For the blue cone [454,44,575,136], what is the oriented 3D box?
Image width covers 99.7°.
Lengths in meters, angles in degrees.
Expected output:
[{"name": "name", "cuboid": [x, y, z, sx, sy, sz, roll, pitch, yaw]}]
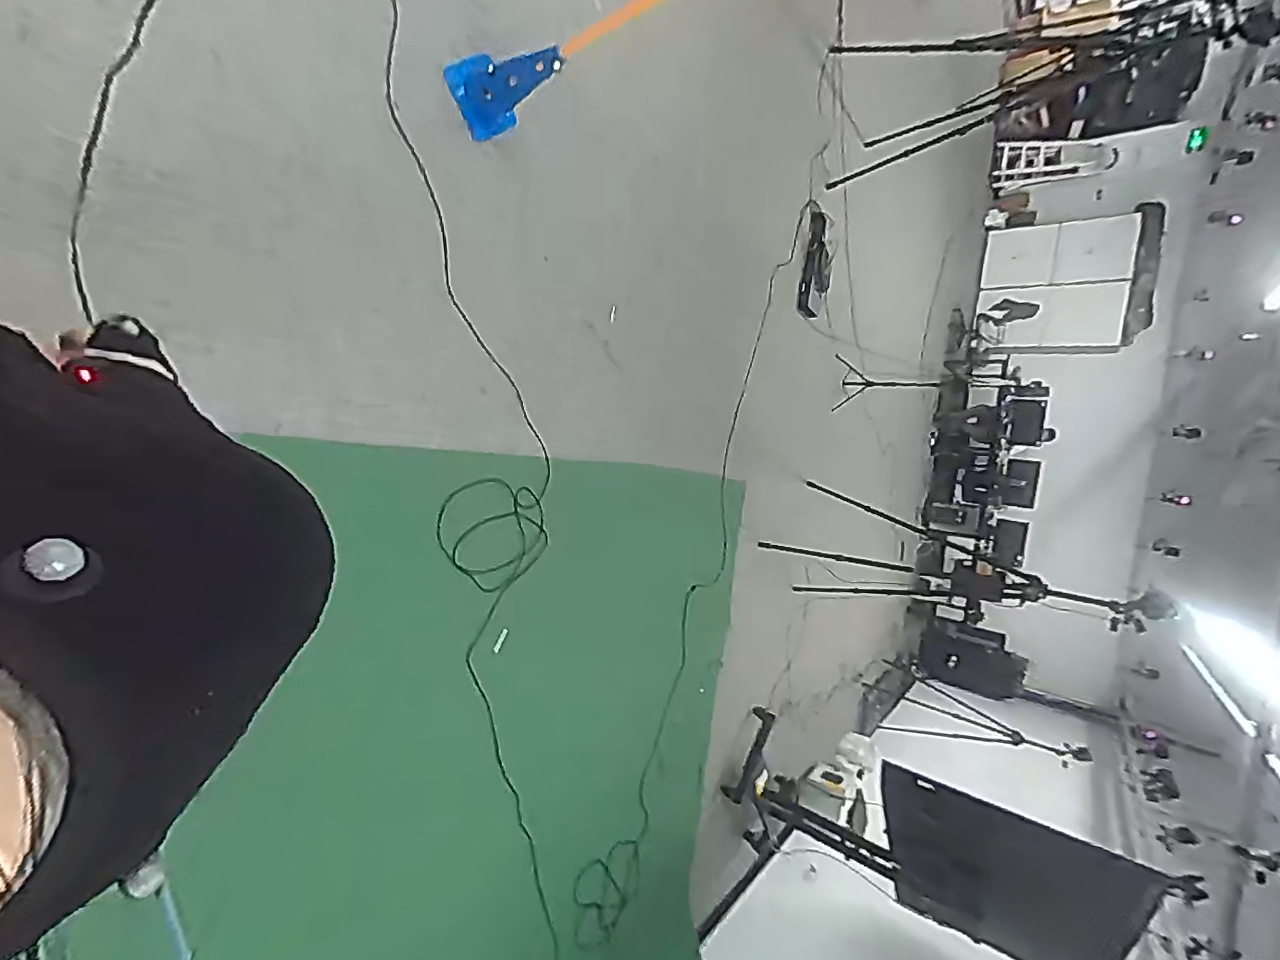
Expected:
[{"name": "blue cone", "cuboid": [-0.334, -1.159, 1.538, 0.193, 0.380, 0.192, -55, 135, -32]}]
